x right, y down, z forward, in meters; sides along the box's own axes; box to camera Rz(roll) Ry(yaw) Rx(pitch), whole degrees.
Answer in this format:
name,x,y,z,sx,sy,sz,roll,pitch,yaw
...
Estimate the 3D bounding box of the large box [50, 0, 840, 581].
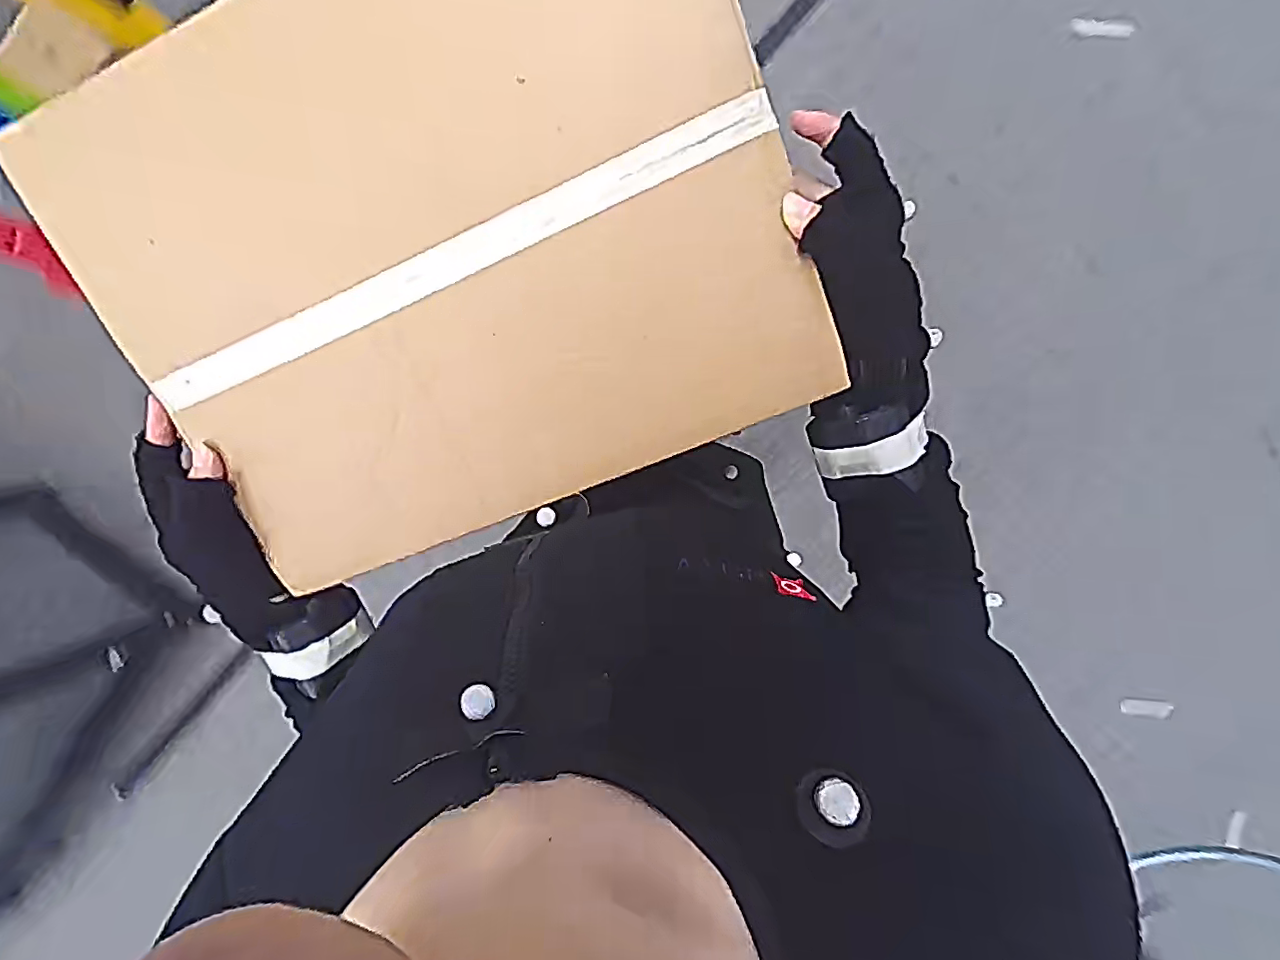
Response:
name,x,y,z,sx,sy,sz,roll,pitch,yaw
large box,-0.103,-0.173,0.468,0.408,0.320,0.320,-19,106,9
